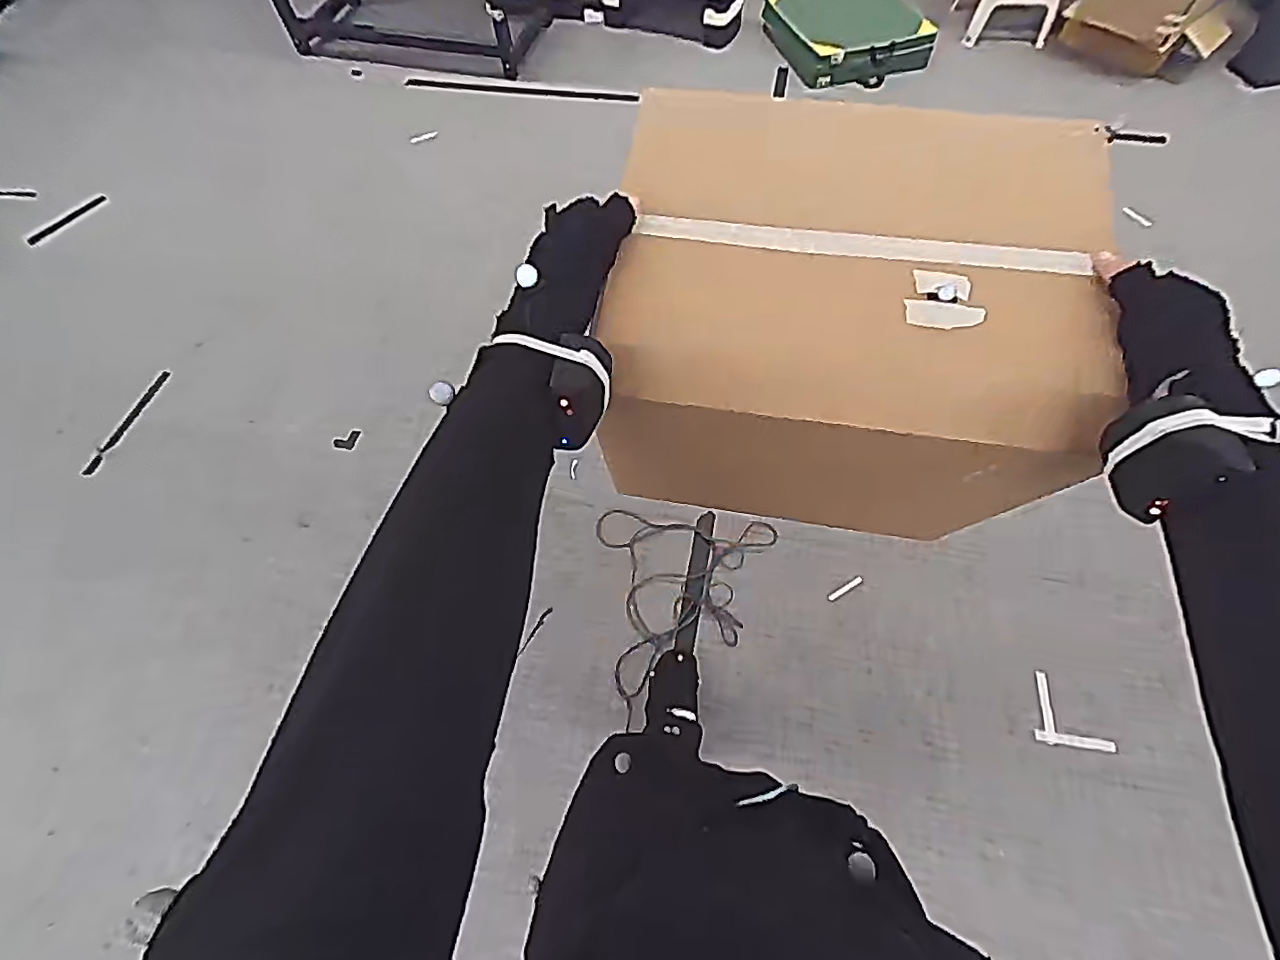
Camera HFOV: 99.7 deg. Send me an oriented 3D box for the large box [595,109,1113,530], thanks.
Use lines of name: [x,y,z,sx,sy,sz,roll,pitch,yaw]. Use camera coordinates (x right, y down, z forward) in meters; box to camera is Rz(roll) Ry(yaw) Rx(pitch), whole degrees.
large box: [0.186,-0.146,0.602,0.408,0.320,0.320,8,75,6]
